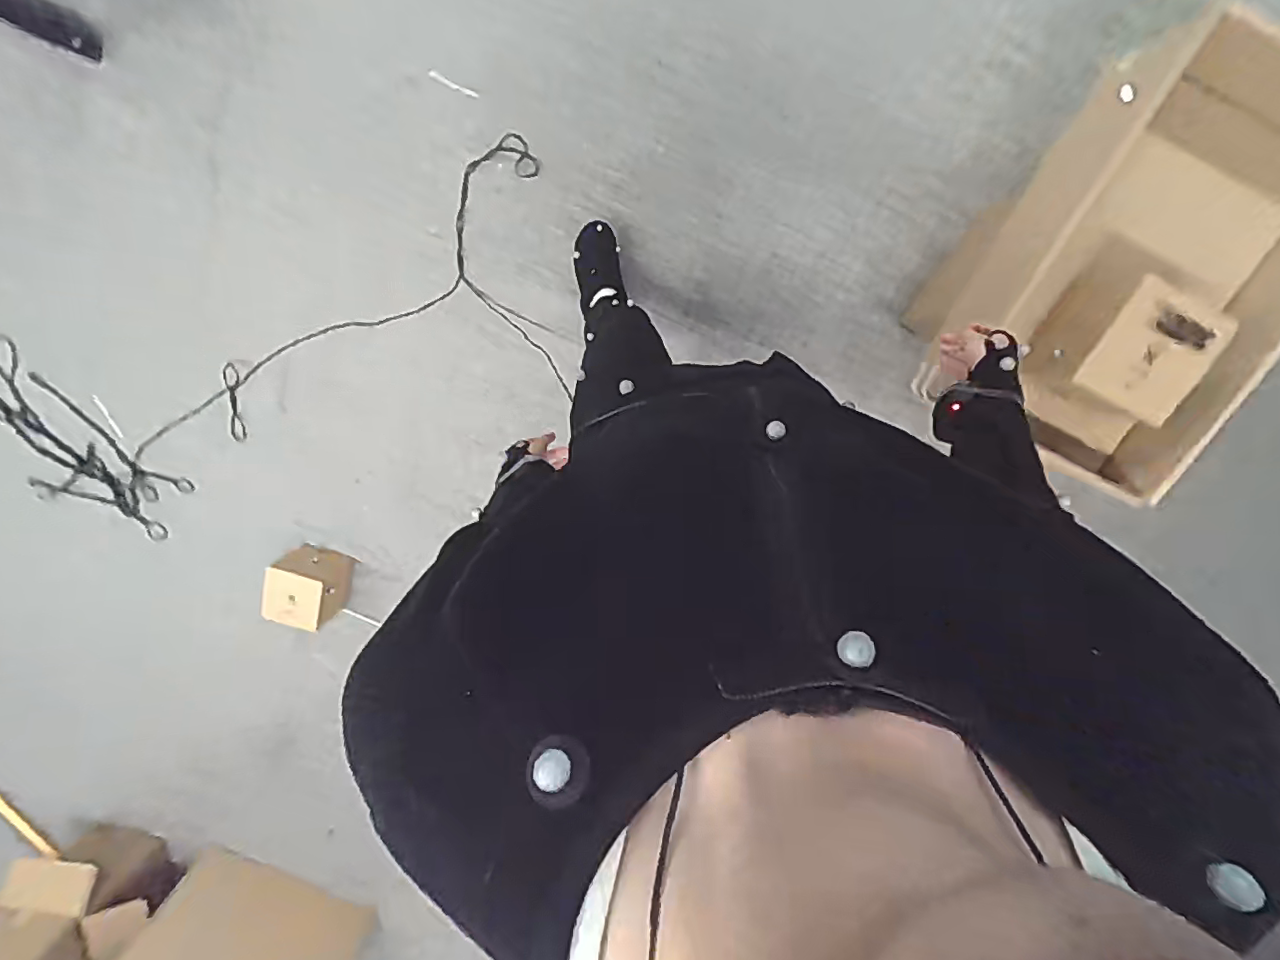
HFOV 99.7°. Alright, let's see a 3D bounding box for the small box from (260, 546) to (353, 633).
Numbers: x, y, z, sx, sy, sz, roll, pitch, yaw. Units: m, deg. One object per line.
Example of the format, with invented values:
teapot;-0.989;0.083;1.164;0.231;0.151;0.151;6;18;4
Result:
small box;-0.988;0.319;1.614;0.168;0.176;0.179;18;107;-1
